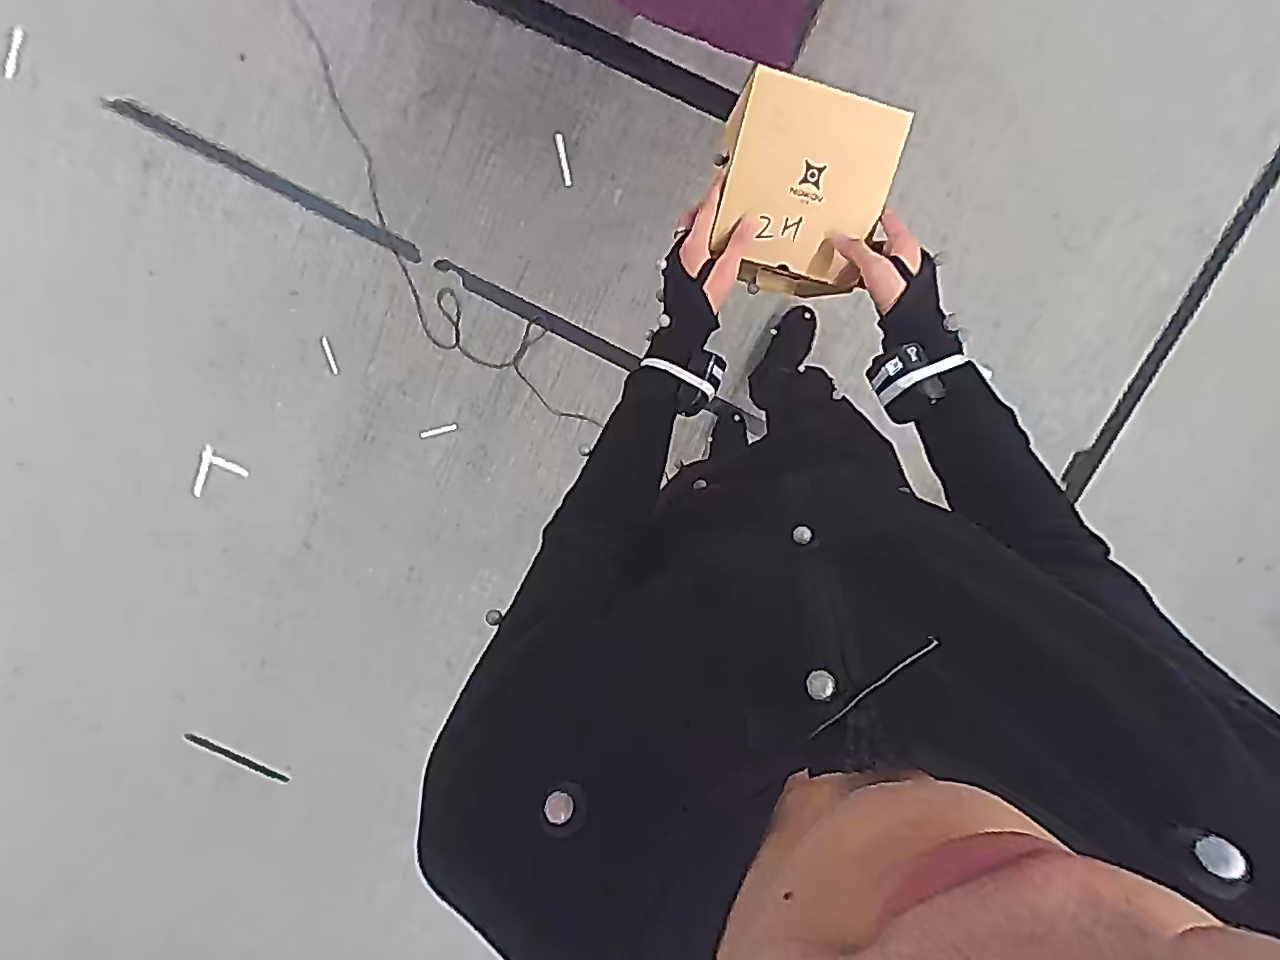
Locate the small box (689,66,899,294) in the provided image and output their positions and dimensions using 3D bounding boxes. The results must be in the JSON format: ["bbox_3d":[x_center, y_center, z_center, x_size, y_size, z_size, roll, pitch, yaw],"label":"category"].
[{"bbox_3d":[0.160,-0.326,0.629,0.168,0.176,0.179,12,106,-5],"label":"small box"}]
